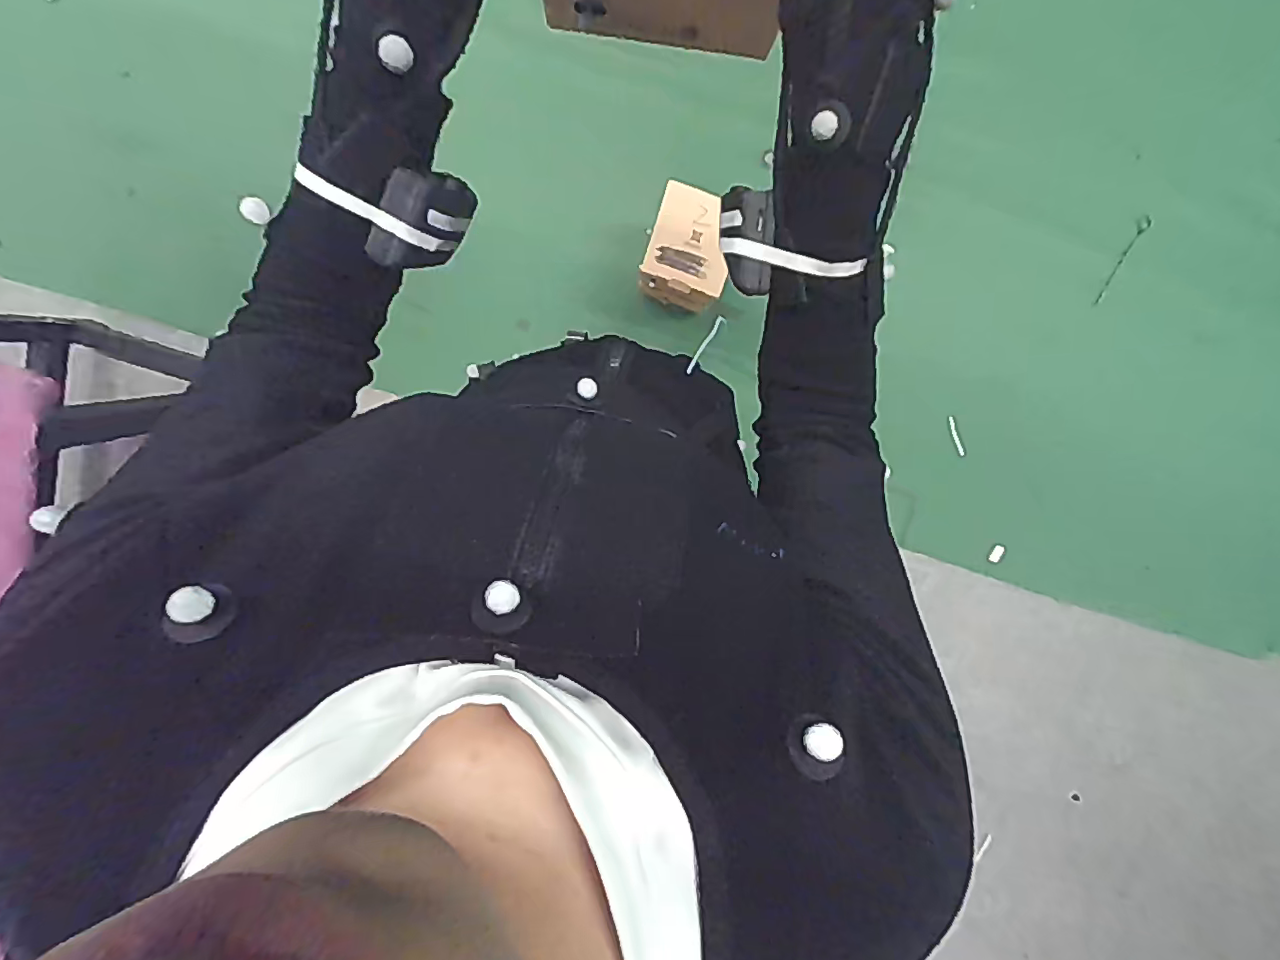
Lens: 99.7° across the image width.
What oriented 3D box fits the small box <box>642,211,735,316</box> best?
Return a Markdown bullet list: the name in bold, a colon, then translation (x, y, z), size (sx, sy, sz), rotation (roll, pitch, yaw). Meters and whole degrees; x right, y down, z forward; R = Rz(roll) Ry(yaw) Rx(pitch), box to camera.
- **small box**: translation (0.106, -0.505, 1.286), size (0.168, 0.176, 0.179), rotation (18, 103, -4)
